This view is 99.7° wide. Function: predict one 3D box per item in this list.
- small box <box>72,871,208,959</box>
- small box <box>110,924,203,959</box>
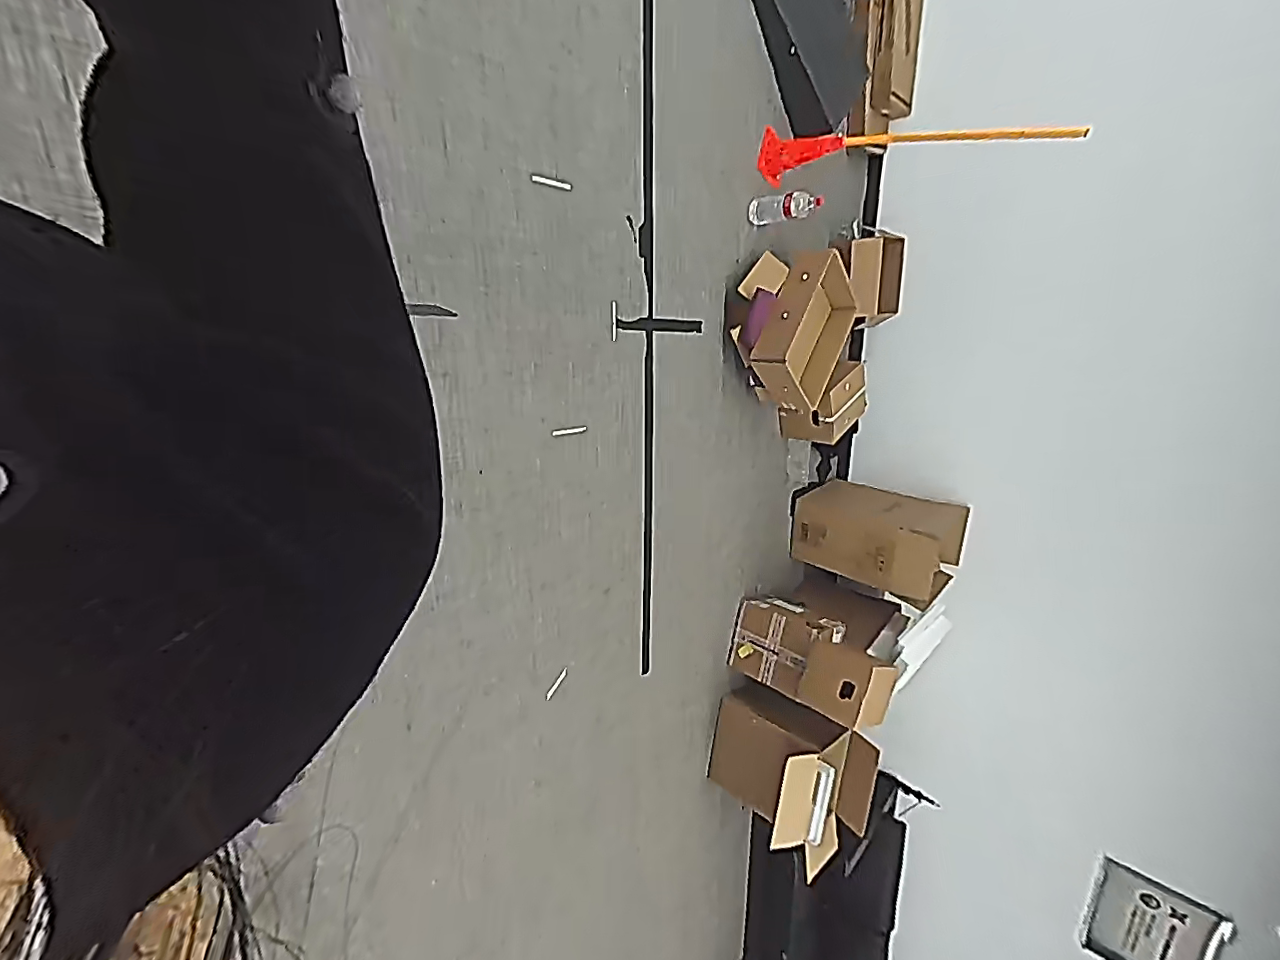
[{"bbox_3d":[-1.114,1.024,1.203,0.168,0.176,0.179,-32,122,-39],"label":"small box"},{"bbox_3d":[-0.998,1.062,1.092,0.168,0.176,0.179,-32,123,-40],"label":"small box"}]
